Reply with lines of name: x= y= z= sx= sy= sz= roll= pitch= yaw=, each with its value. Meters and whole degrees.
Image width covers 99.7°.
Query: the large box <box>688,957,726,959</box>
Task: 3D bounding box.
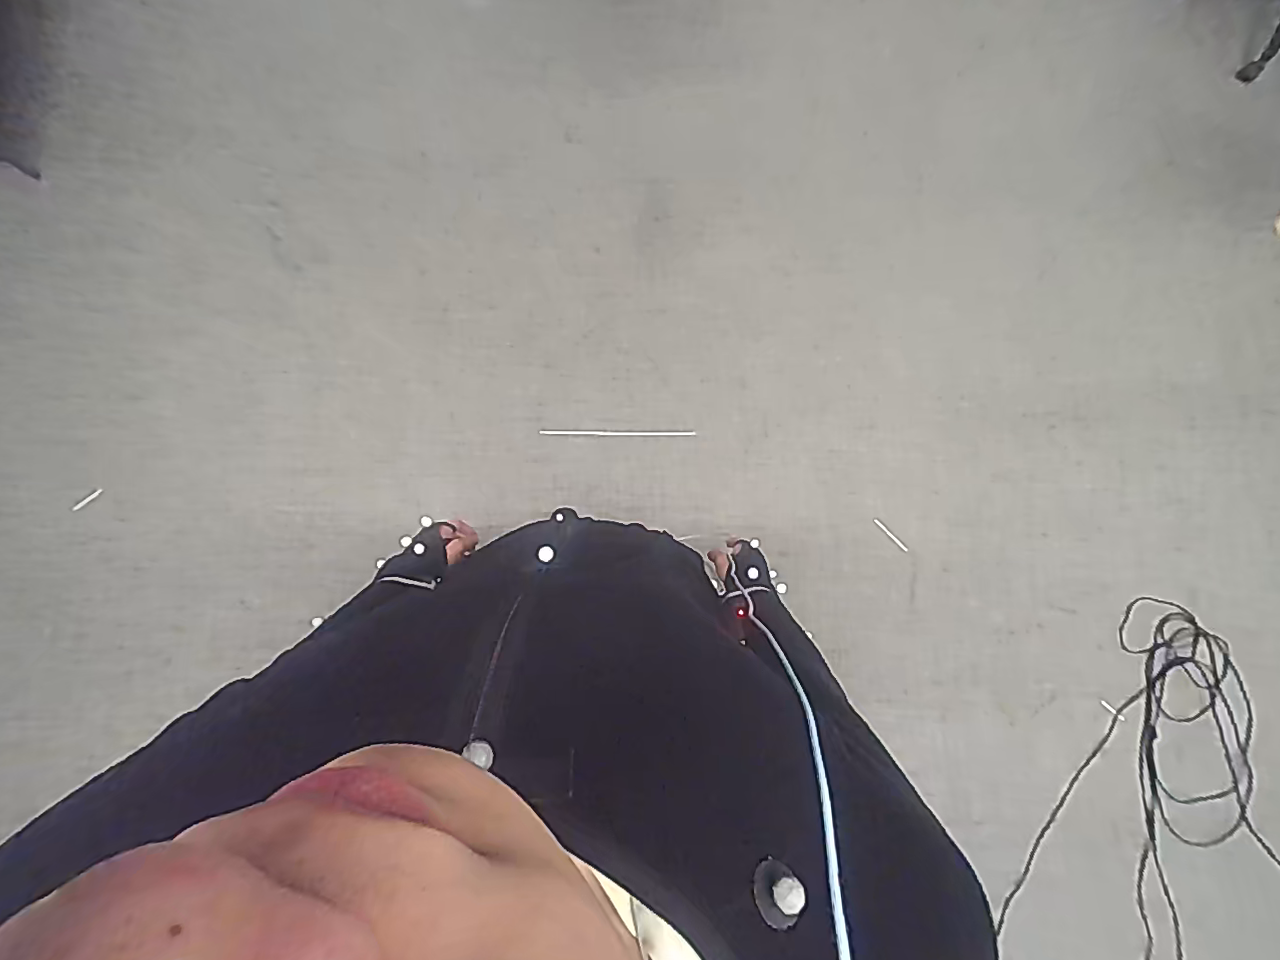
large box: x=0.068 y=1.543 z=1.419 sx=0.408 sy=0.320 sz=0.320 roll=-1 pitch=86 yaw=-2
